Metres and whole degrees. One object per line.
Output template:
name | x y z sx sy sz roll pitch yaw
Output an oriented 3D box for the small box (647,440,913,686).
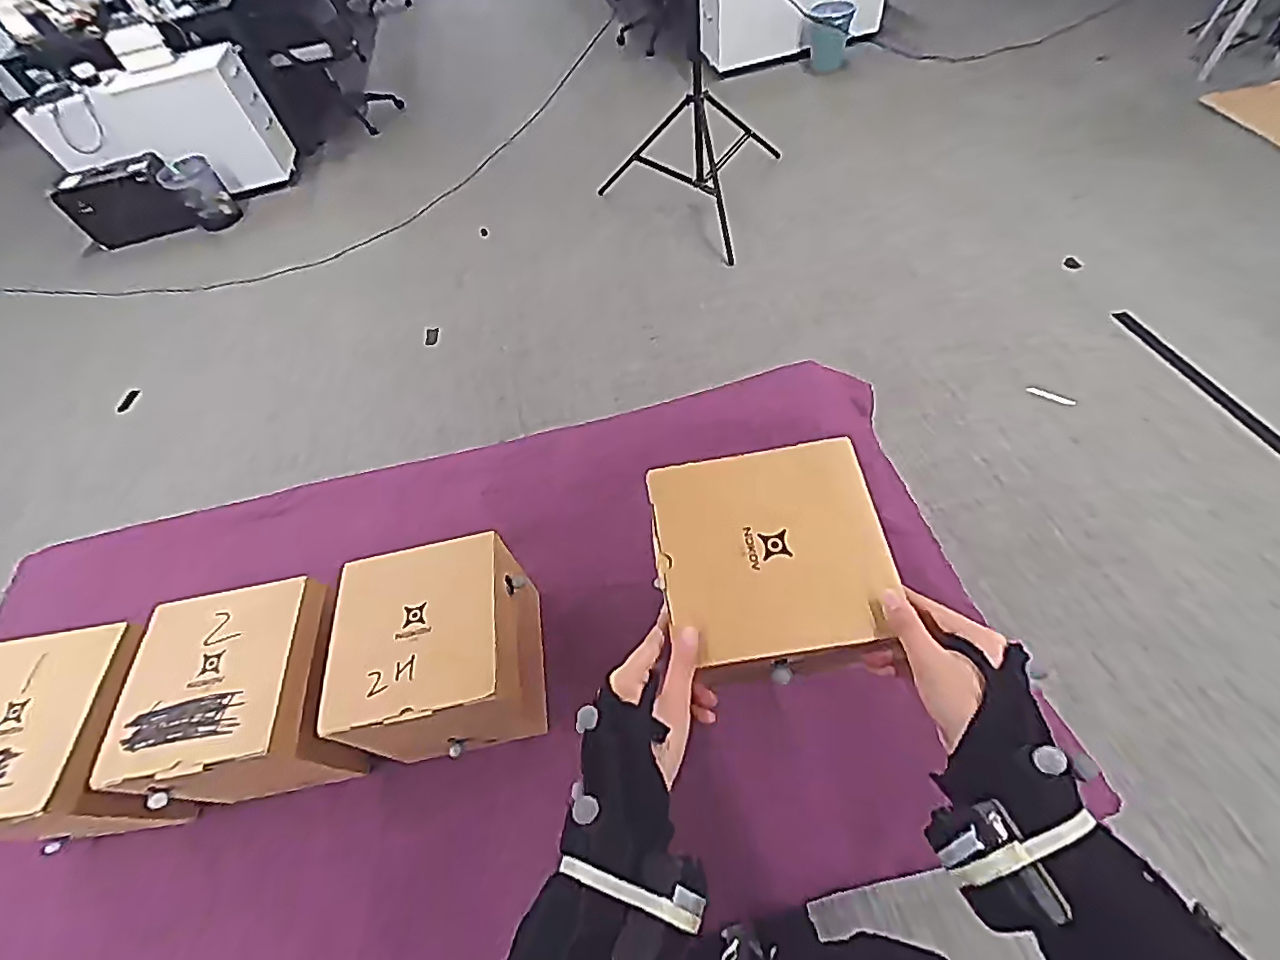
small box | 0.110 0.085 0.492 0.179 0.176 0.168 -10 63 4
